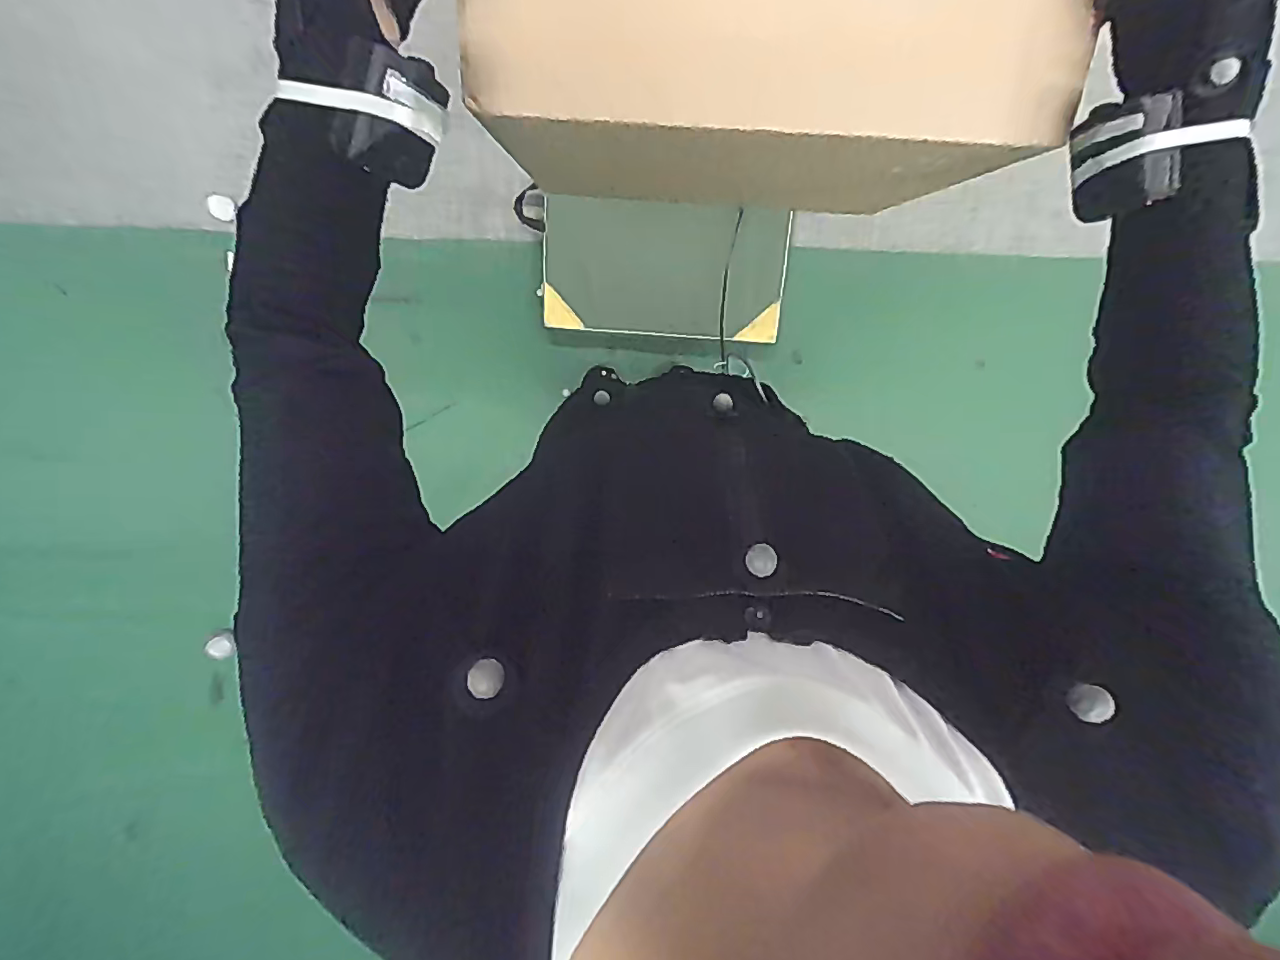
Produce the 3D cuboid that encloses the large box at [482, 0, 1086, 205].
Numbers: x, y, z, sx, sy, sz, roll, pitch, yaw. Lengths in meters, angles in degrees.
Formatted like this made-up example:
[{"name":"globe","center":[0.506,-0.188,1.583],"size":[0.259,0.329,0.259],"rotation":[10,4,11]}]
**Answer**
[{"name":"large box","center":[0.093,-0.437,0.467],"size":[0.408,0.320,0.320],"rotation":[2,109,-2]}]
